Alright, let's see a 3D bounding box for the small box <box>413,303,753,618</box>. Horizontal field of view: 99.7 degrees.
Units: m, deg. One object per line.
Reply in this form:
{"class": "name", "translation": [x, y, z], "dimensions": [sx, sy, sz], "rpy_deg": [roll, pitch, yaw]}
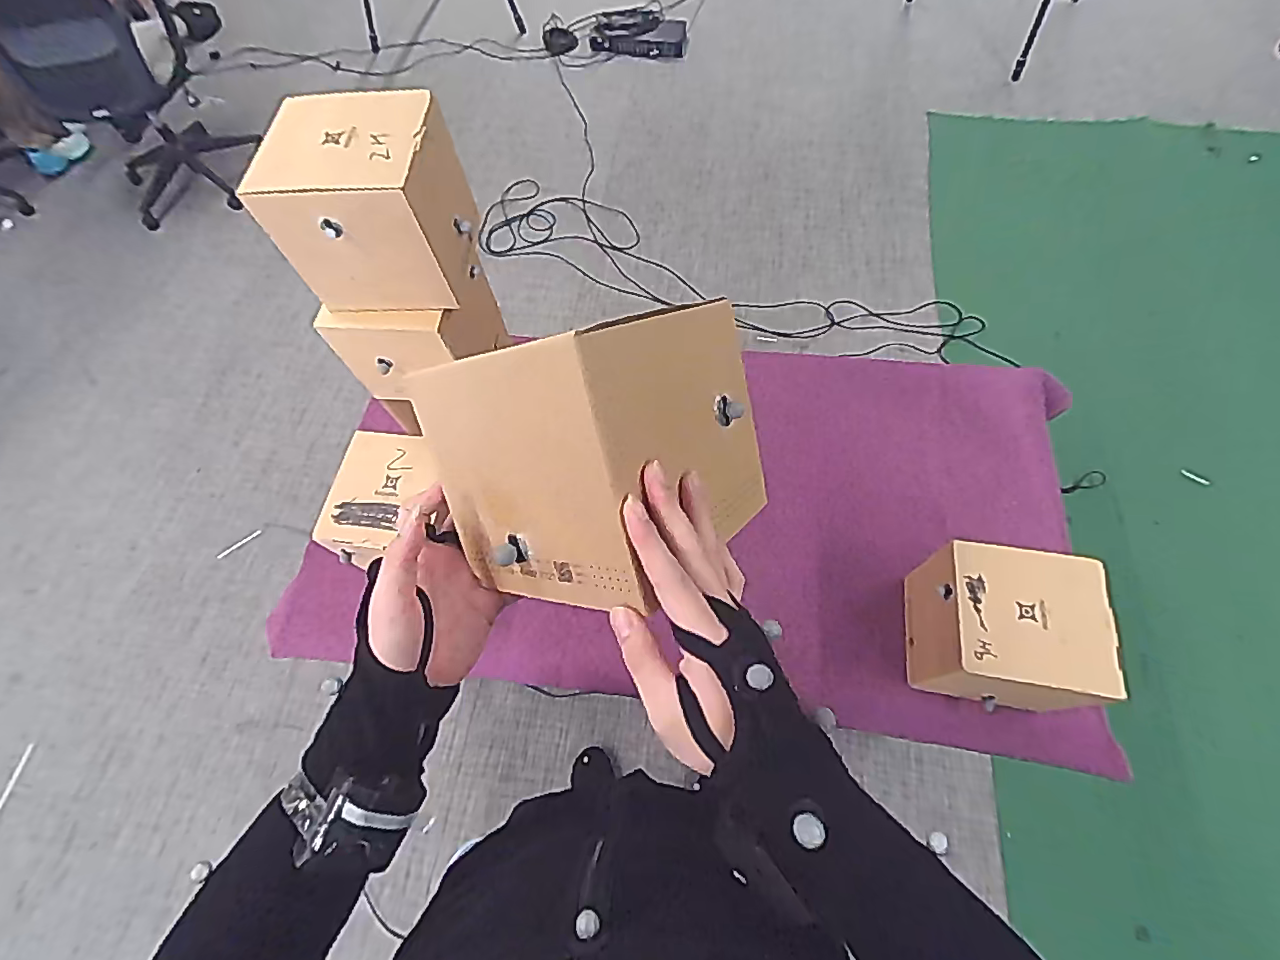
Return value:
{"class": "small box", "translation": [-0.028, -0.023, 0.405], "dimensions": [0.168, 0.176, 0.179], "rpy_deg": [-1, 20, 39]}

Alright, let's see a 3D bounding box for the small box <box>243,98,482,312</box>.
{"class": "small box", "translation": [-0.311, -0.320, 0.650], "dimensions": [0.179, 0.176, 0.168], "rpy_deg": [0, 64, 3]}

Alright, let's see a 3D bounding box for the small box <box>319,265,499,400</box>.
{"class": "small box", "translation": [-0.318, -0.226, 0.787], "dimensions": [0.168, 0.176, 0.179], "rpy_deg": [3, 64, 4]}

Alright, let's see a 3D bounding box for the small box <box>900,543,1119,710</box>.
{"class": "small box", "translation": [0.469, 0.201, 0.718], "dimensions": [0.179, 0.176, 0.168], "rpy_deg": [9, 63, 7]}
